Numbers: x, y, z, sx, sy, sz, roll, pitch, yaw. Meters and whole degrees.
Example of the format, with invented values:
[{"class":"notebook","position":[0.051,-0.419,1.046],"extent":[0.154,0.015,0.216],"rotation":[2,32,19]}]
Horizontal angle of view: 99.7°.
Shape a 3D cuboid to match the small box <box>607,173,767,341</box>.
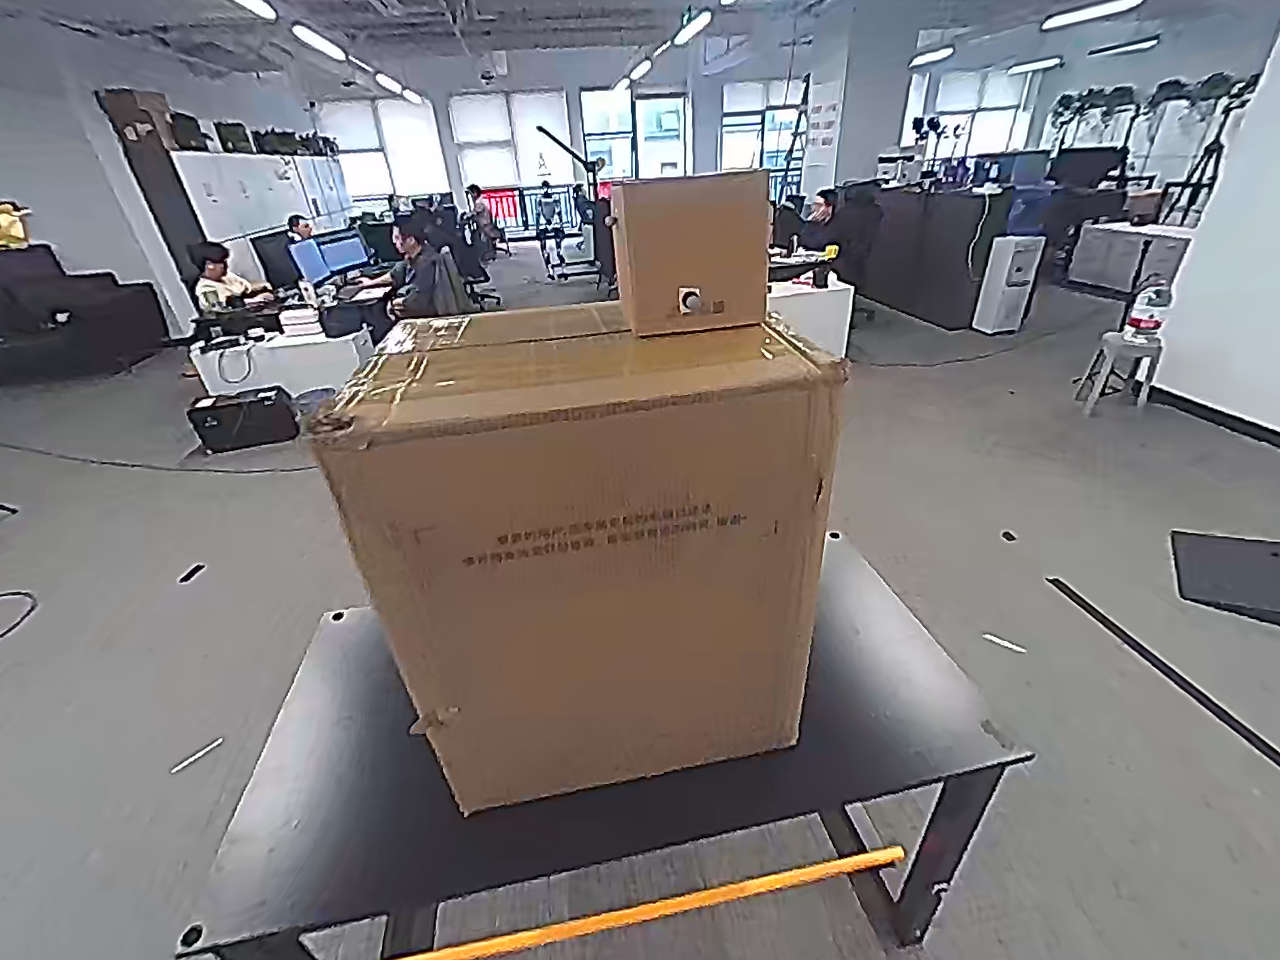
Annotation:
[{"class":"small box","position":[0.054,-0.285,0.689],"extent":[0.168,0.176,0.179],"rotation":[-10,30,-4]}]
